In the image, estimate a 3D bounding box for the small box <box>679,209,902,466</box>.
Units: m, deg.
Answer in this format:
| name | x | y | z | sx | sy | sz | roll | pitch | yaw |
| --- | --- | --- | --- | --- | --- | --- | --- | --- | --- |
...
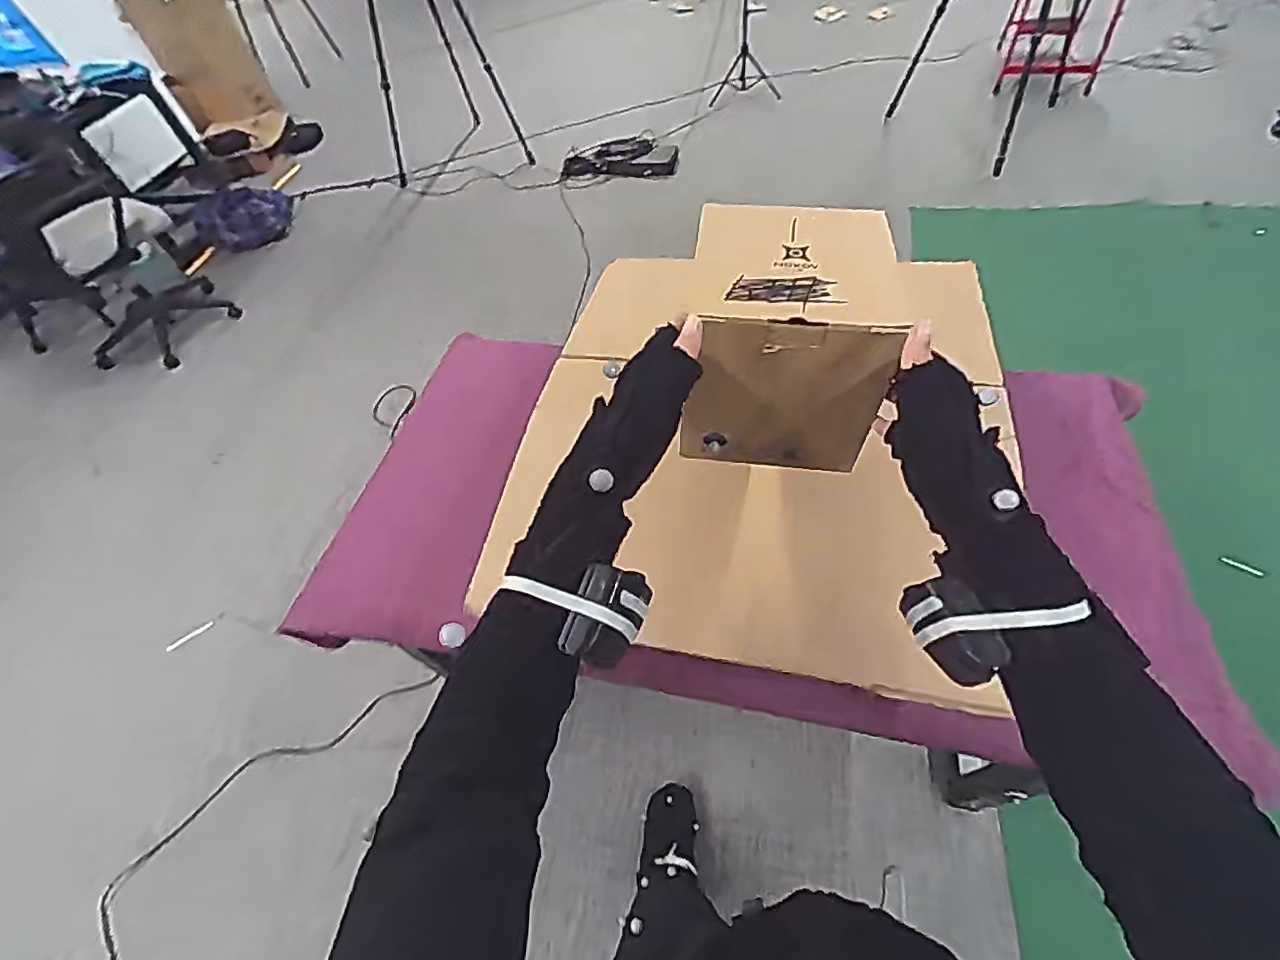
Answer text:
| name | x | y | z | sx | sy | sz | roll | pitch | yaw |
| --- | --- | --- | --- | --- | --- | --- | --- | --- | --- |
| small box | 0.128 | -0.132 | 0.514 | 0.168 | 0.176 | 0.179 | 6 | 53 | 7 |
